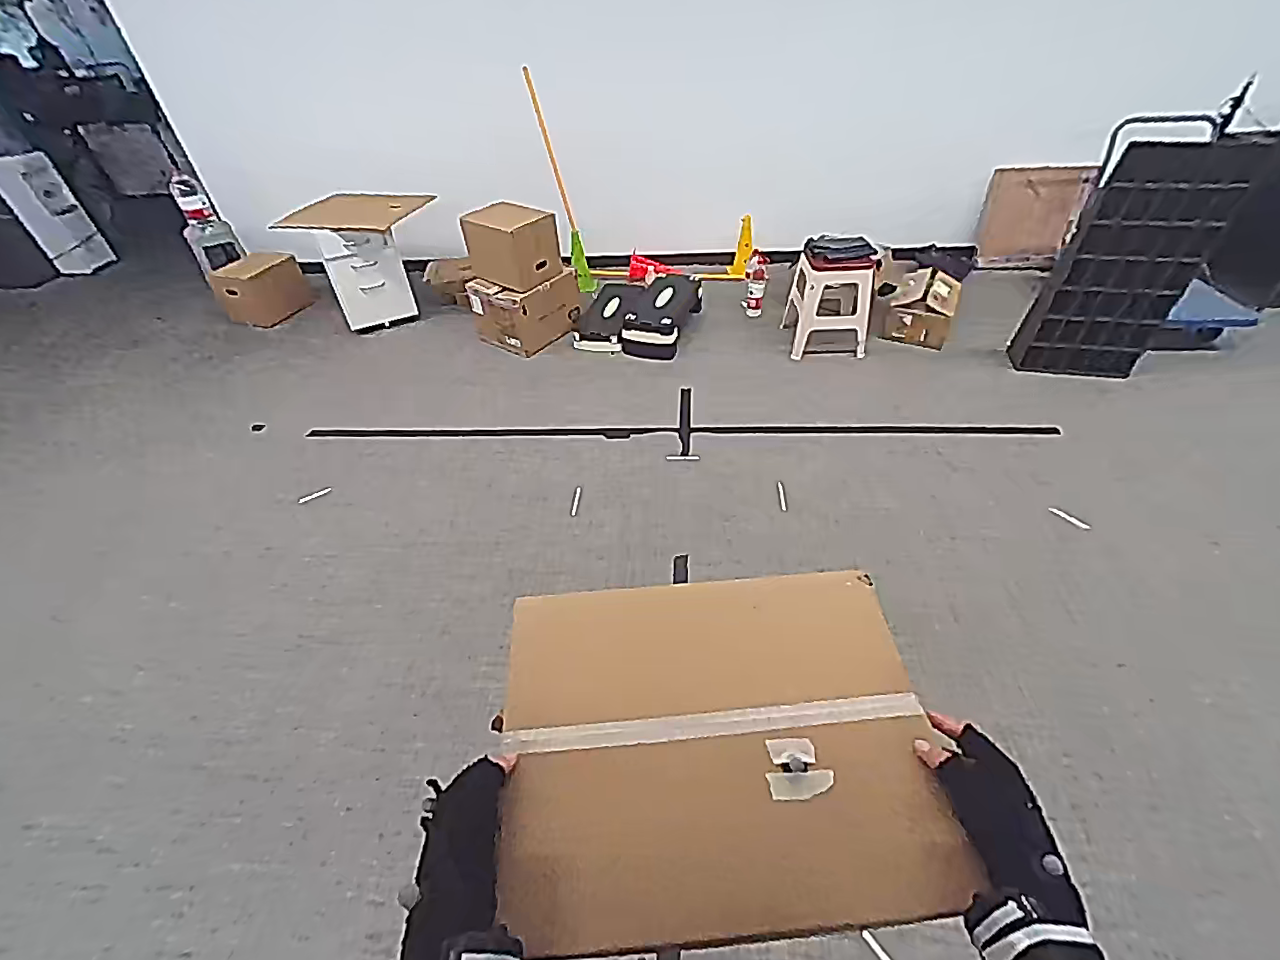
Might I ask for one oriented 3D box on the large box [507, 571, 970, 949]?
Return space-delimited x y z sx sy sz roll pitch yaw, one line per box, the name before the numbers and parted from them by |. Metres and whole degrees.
large box | 0.073 0.340 0.656 0.408 0.320 0.320 -5 49 -3
